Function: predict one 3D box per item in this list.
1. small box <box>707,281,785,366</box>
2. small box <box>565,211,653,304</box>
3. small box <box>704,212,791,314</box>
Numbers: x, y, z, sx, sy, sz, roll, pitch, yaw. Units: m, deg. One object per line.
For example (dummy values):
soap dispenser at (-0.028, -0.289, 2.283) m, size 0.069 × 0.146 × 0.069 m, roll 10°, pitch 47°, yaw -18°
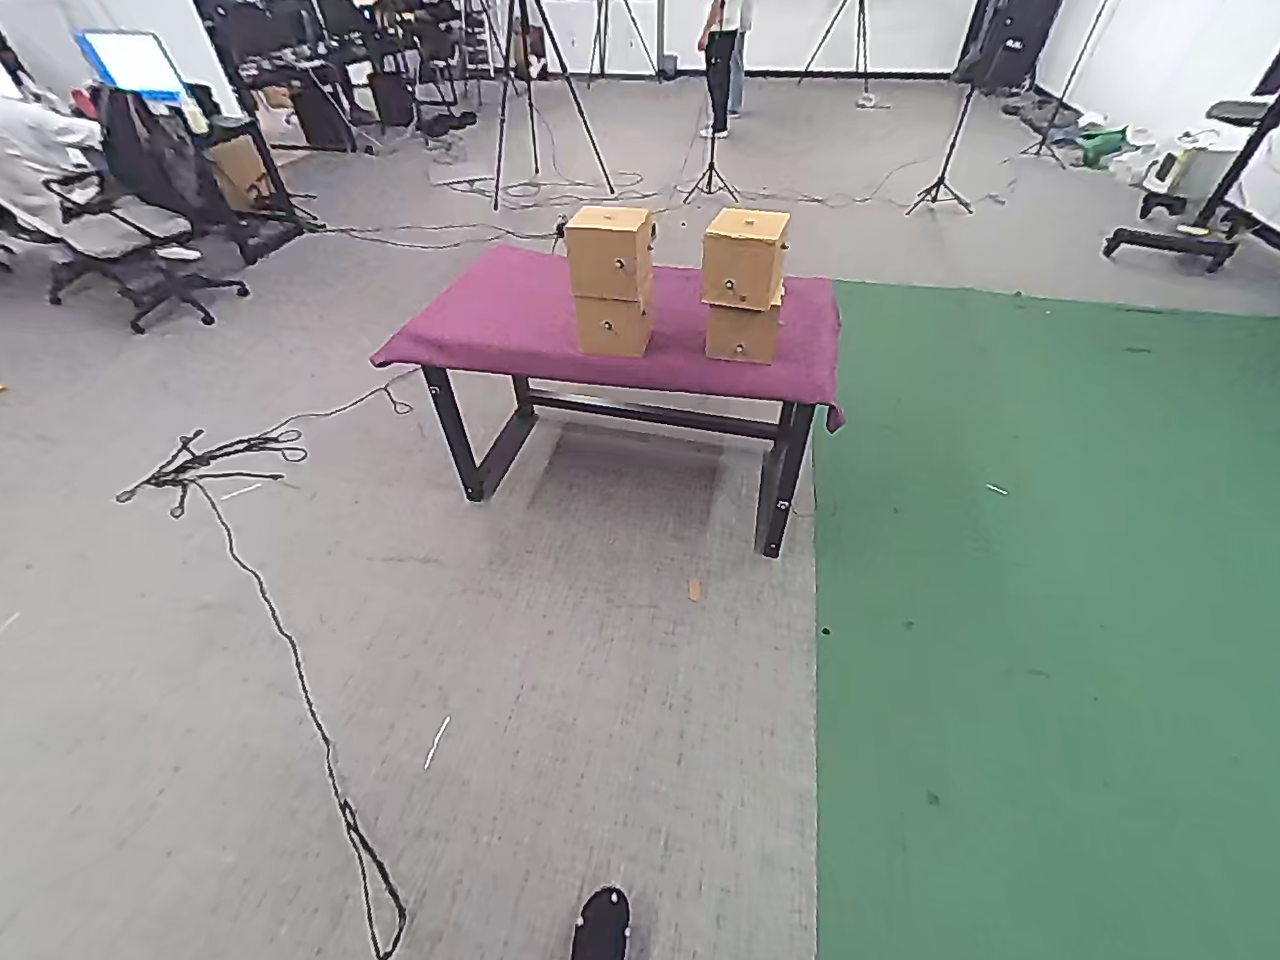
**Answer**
small box at (0.278, -0.417, 1.429) m, size 0.179 × 0.176 × 0.168 m, roll 8°, pitch 43°, yaw 10°
small box at (-0.069, -0.554, 1.348) m, size 0.179 × 0.176 × 0.168 m, roll 8°, pitch 43°, yaw 12°
small box at (0.255, -0.525, 1.306) m, size 0.168 × 0.176 × 0.179 m, roll 13°, pitch 46°, yaw 17°
